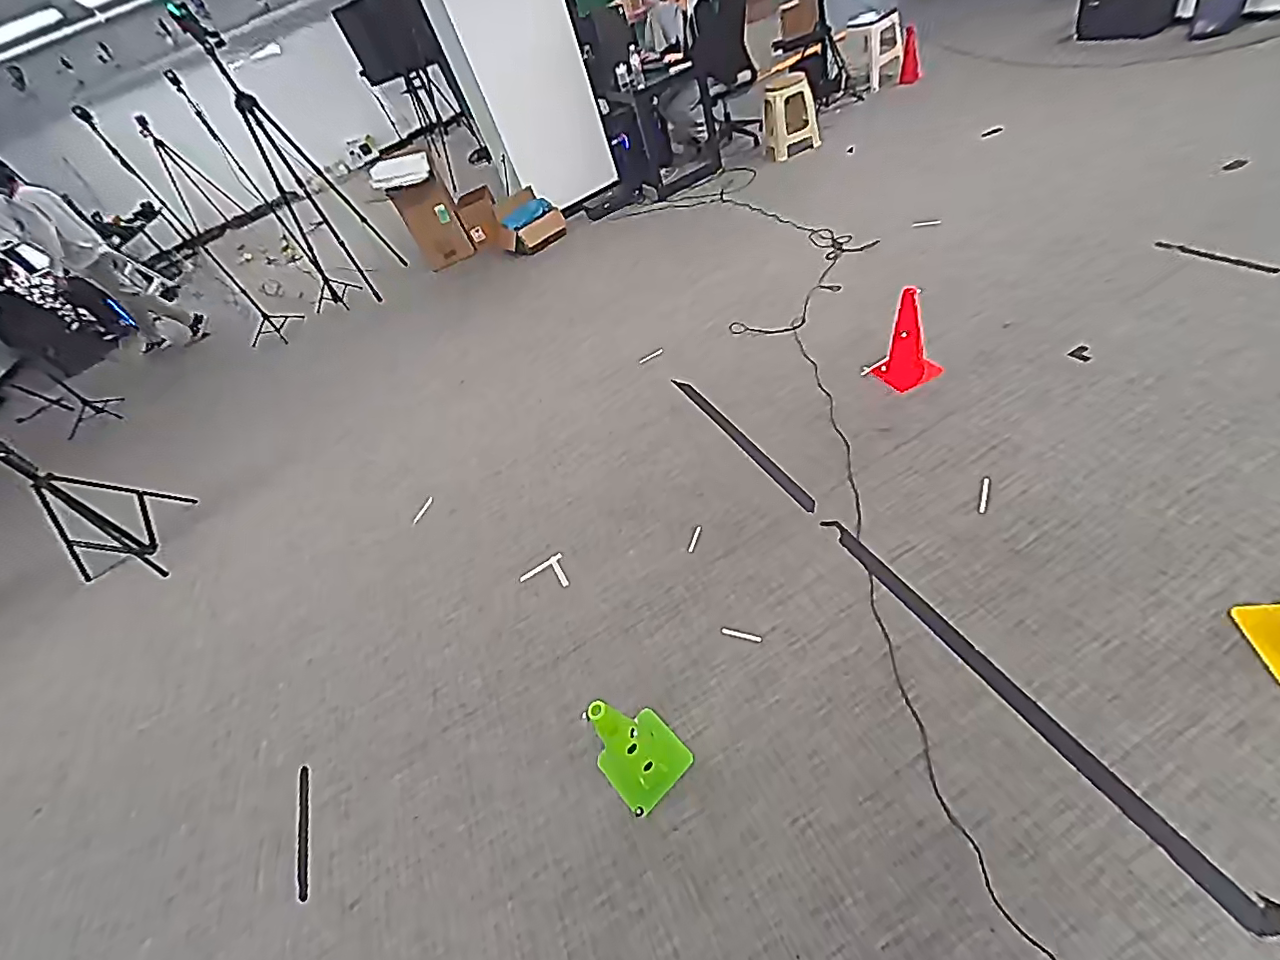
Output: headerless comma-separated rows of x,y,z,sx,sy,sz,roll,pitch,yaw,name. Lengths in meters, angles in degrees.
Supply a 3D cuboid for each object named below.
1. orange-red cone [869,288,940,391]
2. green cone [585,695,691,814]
0.980,-0.541,1.994,0.198,0.360,0.199,-26,44,-1,orange-red cone
-0.043,0.614,1.306,0.200,0.368,0.202,-41,44,-18,green cone
